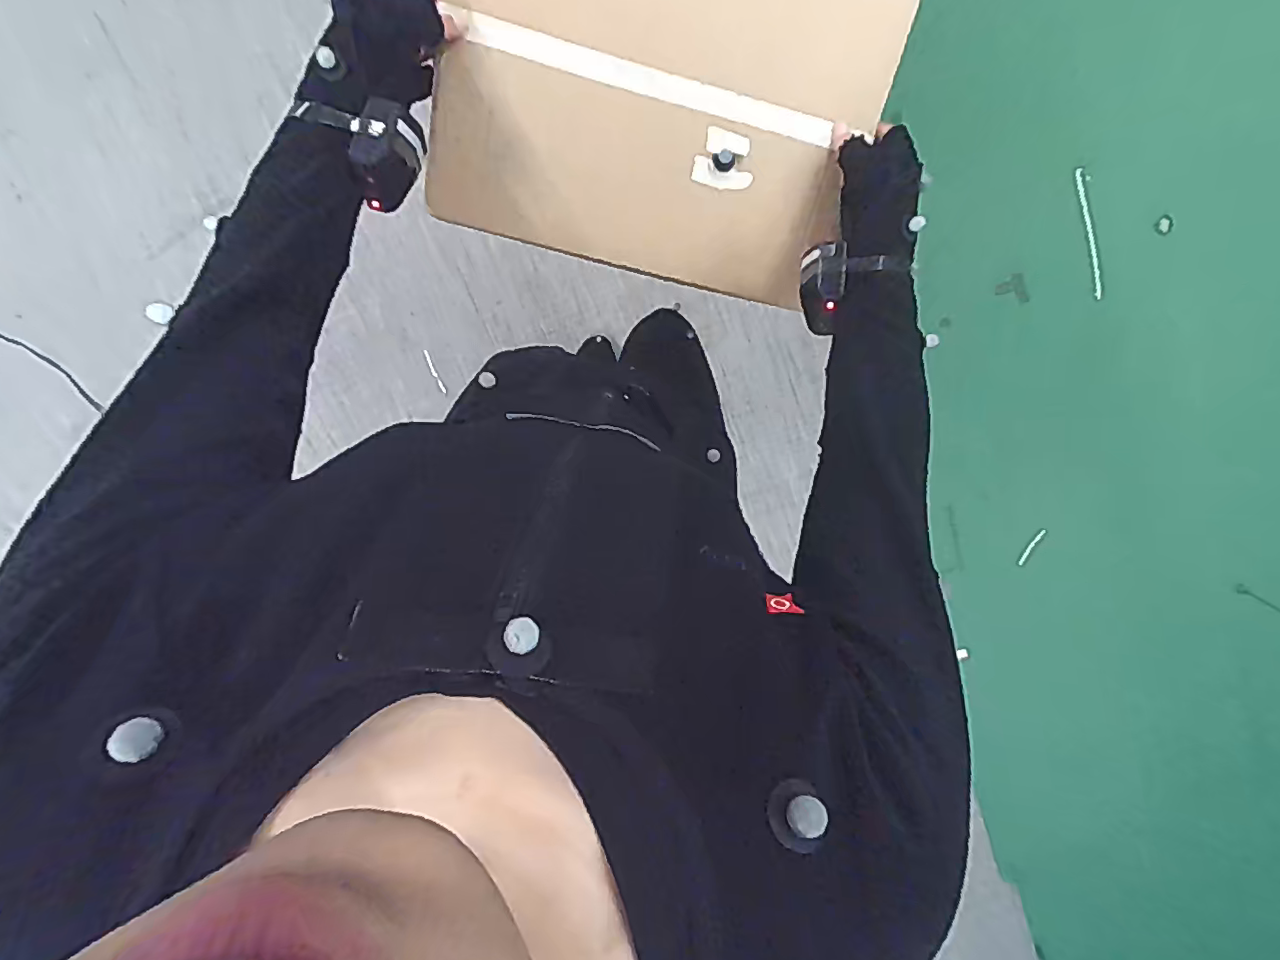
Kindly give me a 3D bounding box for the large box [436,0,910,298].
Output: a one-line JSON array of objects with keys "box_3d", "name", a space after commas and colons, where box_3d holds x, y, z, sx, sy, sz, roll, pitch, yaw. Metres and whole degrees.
[{"box_3d": [0.013, -0.419, 0.634, 0.408, 0.320, 0.320, 10, 111, -10], "name": "large box"}]
